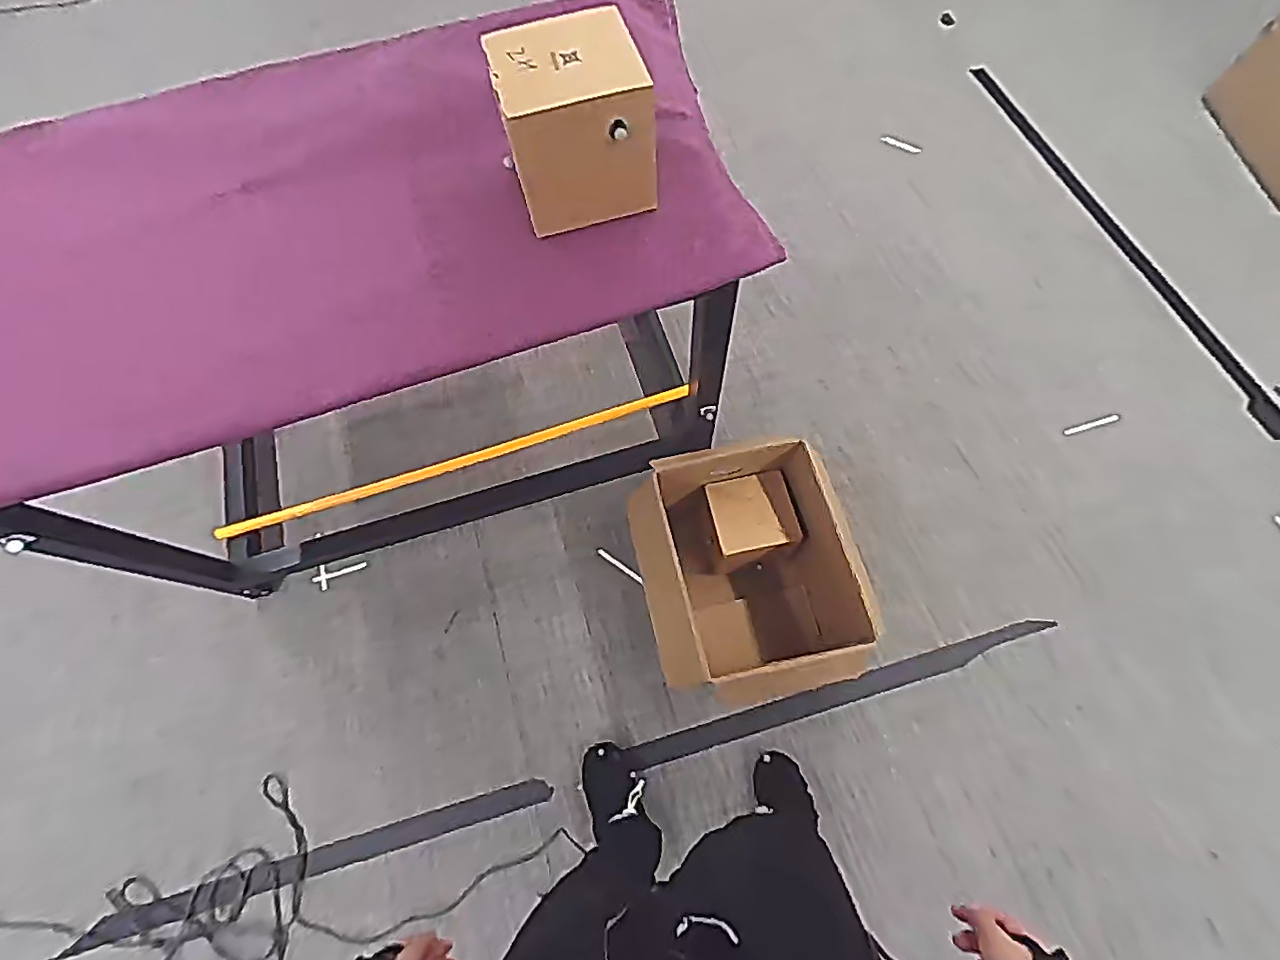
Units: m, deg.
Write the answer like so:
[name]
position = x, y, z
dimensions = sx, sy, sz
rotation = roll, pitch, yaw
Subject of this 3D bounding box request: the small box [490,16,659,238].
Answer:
[small box]
position = -0.080, -0.457, 0.716
dimensions = 0.179, 0.176, 0.168
rotation = -16, 67, -4
